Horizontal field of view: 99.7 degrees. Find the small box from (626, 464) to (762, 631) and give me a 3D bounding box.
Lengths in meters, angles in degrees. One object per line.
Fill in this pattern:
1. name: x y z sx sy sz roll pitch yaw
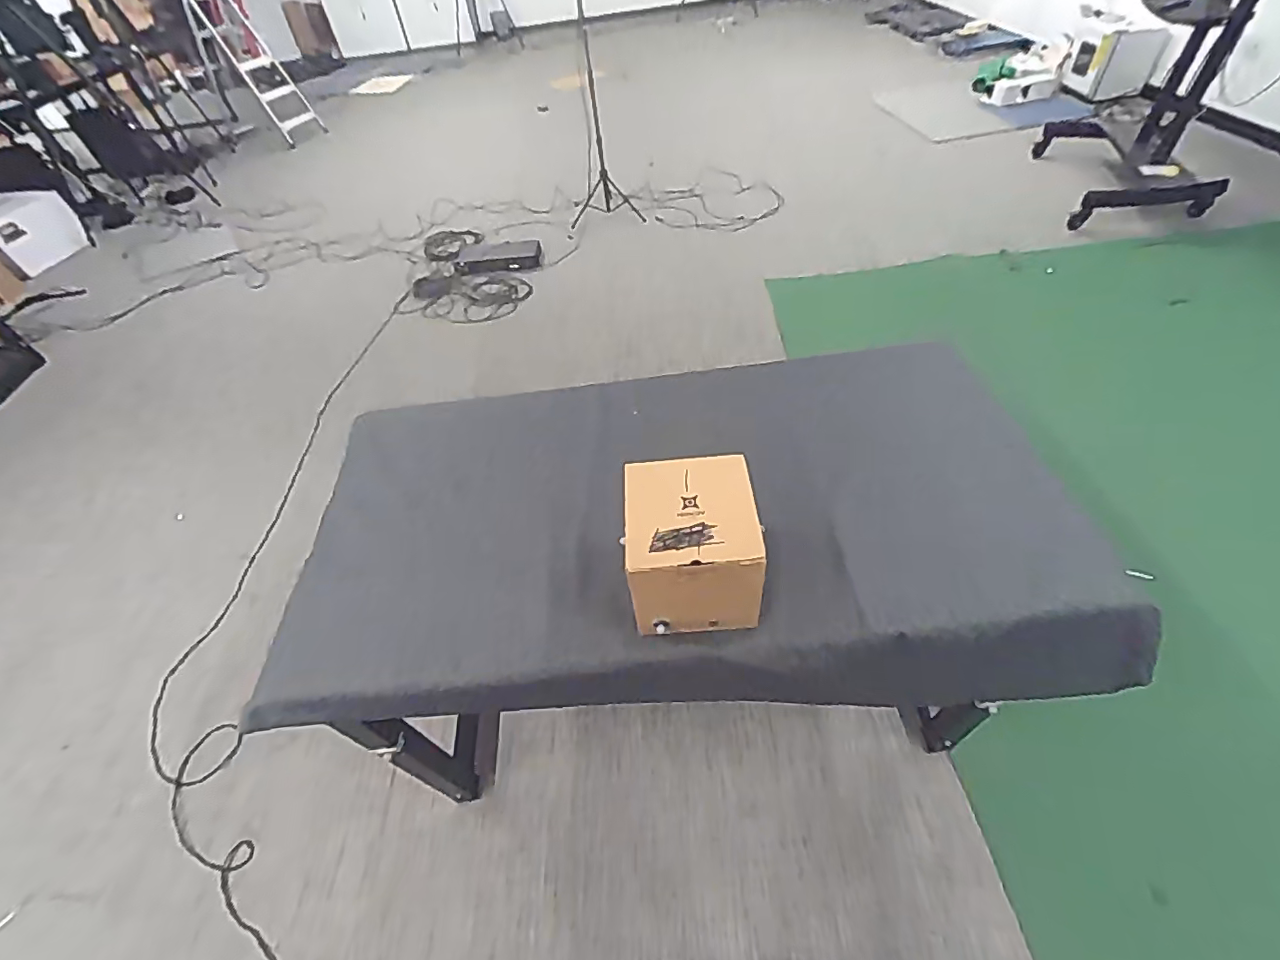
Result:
1. small box: 0.073 0.100 0.753 0.168 0.176 0.179 -3 47 3
